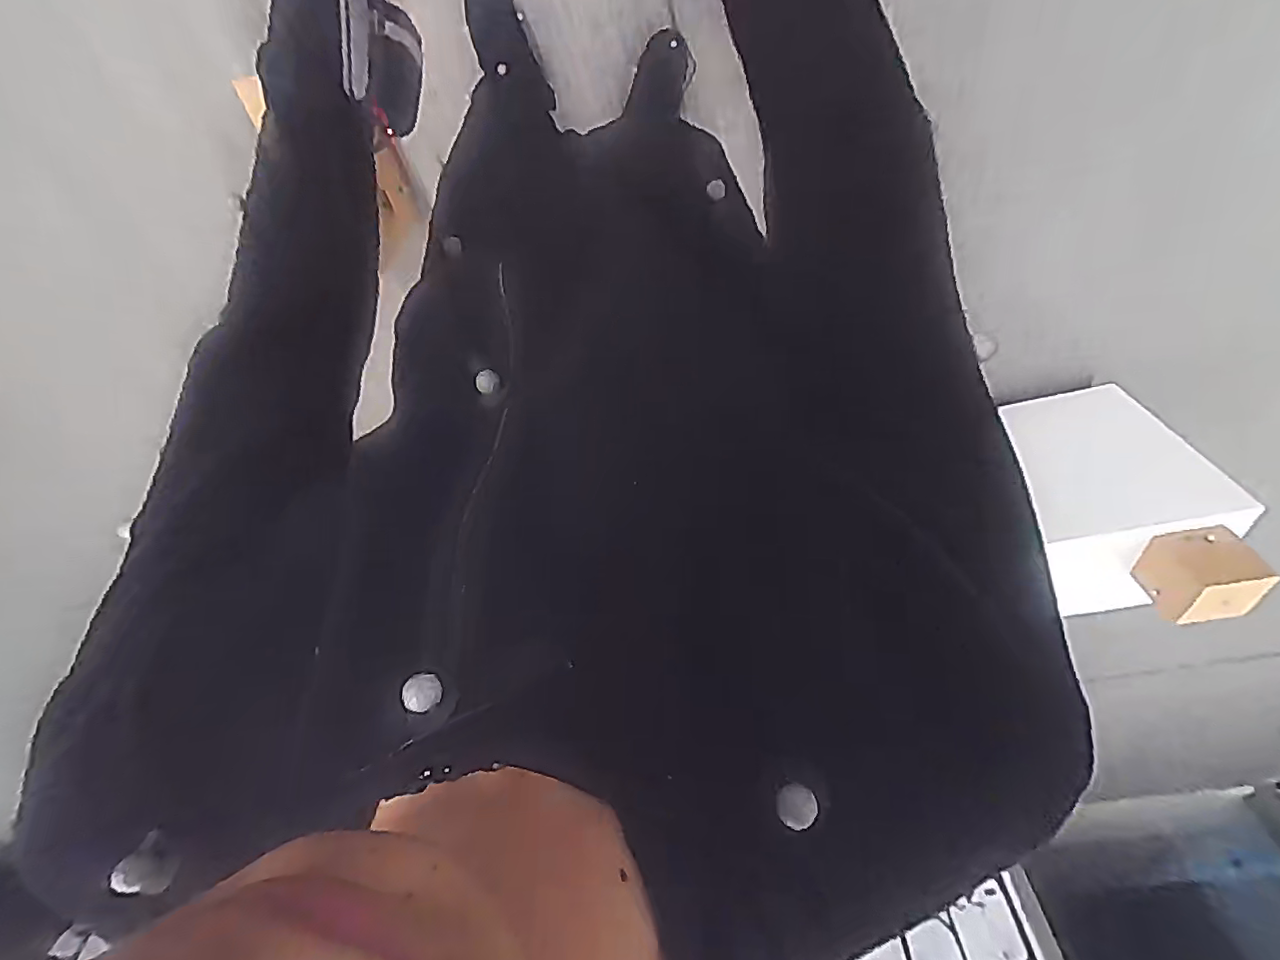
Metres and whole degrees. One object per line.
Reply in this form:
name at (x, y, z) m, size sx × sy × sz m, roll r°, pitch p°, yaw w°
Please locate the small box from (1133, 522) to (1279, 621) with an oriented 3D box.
small box at (1.425, 0.234, 1.381) m, size 0.168 × 0.176 × 0.179 m, roll -11°, pitch 133°, yaw 7°
